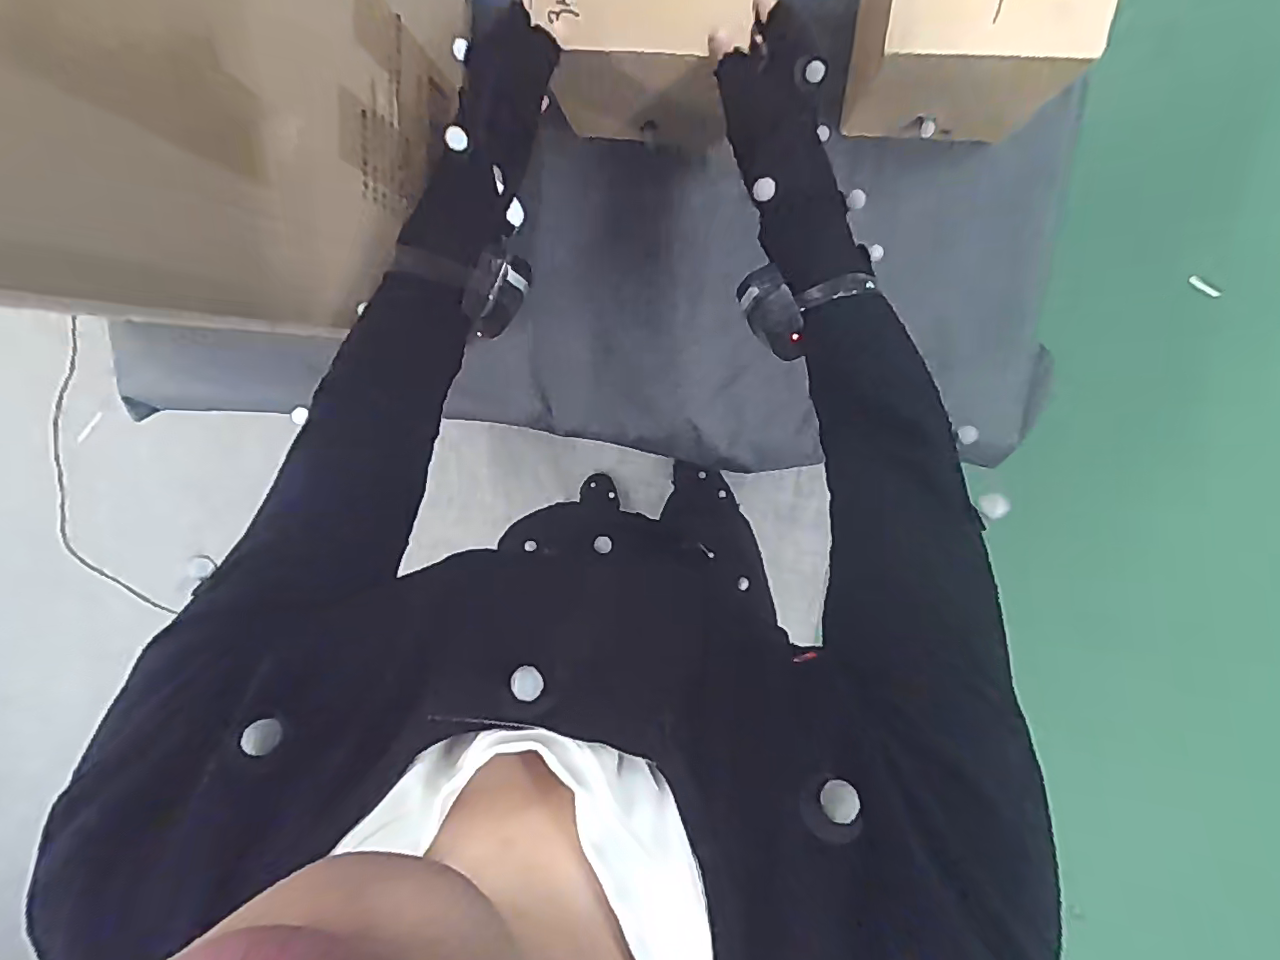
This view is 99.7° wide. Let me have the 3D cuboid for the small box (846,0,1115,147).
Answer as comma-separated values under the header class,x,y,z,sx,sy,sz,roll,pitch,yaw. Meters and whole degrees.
class,x,y,z,sx,sy,sz,roll,pitch,yaw
small box,0.302,-0.438,0.495,0.168,0.176,0.179,7,103,7
